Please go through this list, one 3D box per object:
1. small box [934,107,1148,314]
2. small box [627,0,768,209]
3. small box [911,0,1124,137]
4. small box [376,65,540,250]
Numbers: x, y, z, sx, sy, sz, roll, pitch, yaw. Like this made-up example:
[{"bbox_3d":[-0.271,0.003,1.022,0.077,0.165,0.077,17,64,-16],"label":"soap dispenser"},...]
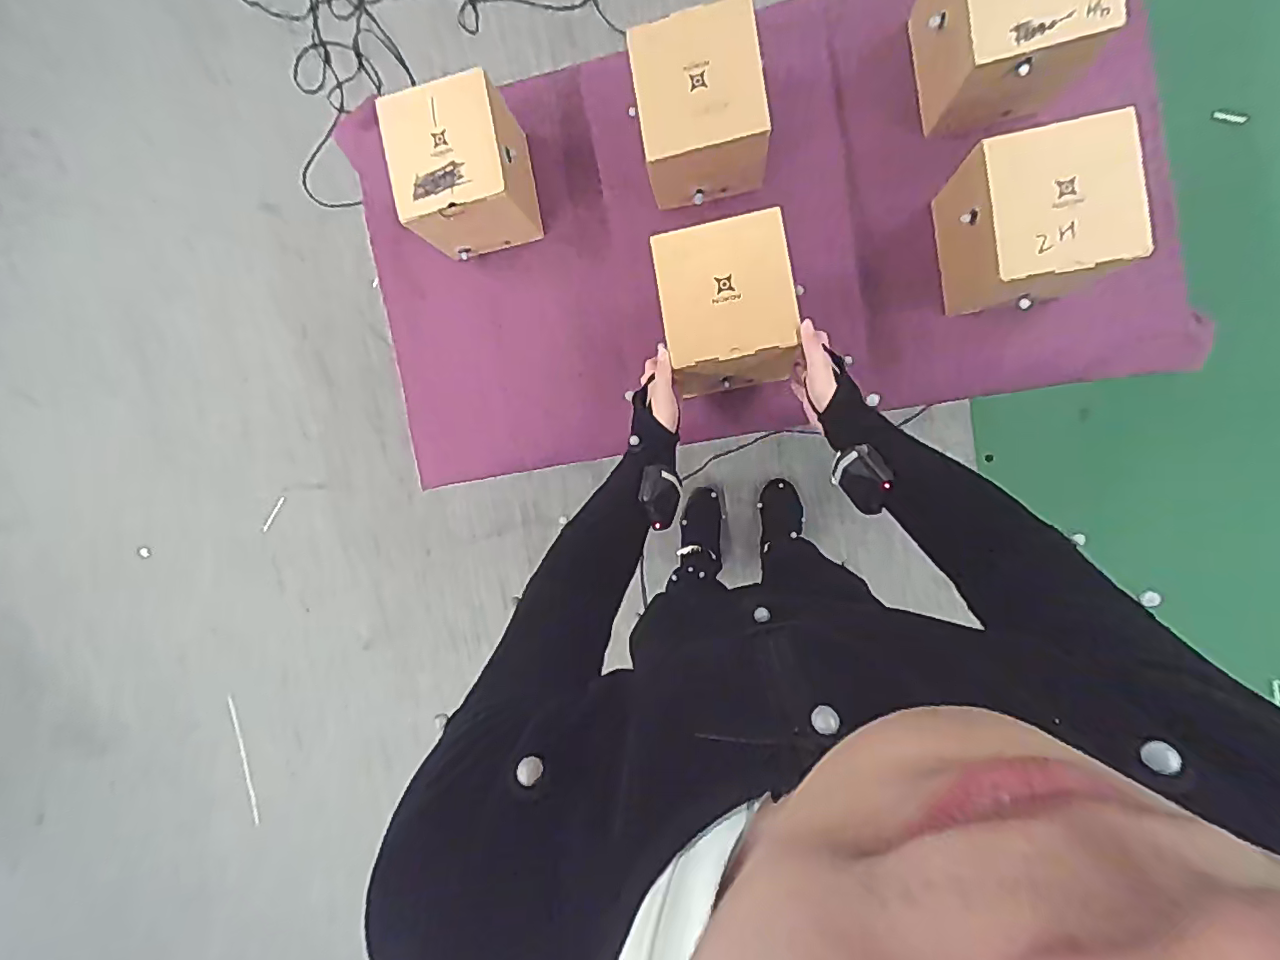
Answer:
[{"bbox_3d":[0.511,-0.340,0.716,0.168,0.176,0.179,-7,91,10],"label":"small box"},{"bbox_3d":[0.085,-0.525,0.775,0.168,0.176,0.179,-8,93,10],"label":"small box"},{"bbox_3d":[0.474,-0.599,0.709,0.168,0.176,0.179,-9,92,10],"label":"small box"},{"bbox_3d":[-0.266,-0.473,0.829,0.168,0.176,0.179,-10,92,8],"label":"small box"}]
